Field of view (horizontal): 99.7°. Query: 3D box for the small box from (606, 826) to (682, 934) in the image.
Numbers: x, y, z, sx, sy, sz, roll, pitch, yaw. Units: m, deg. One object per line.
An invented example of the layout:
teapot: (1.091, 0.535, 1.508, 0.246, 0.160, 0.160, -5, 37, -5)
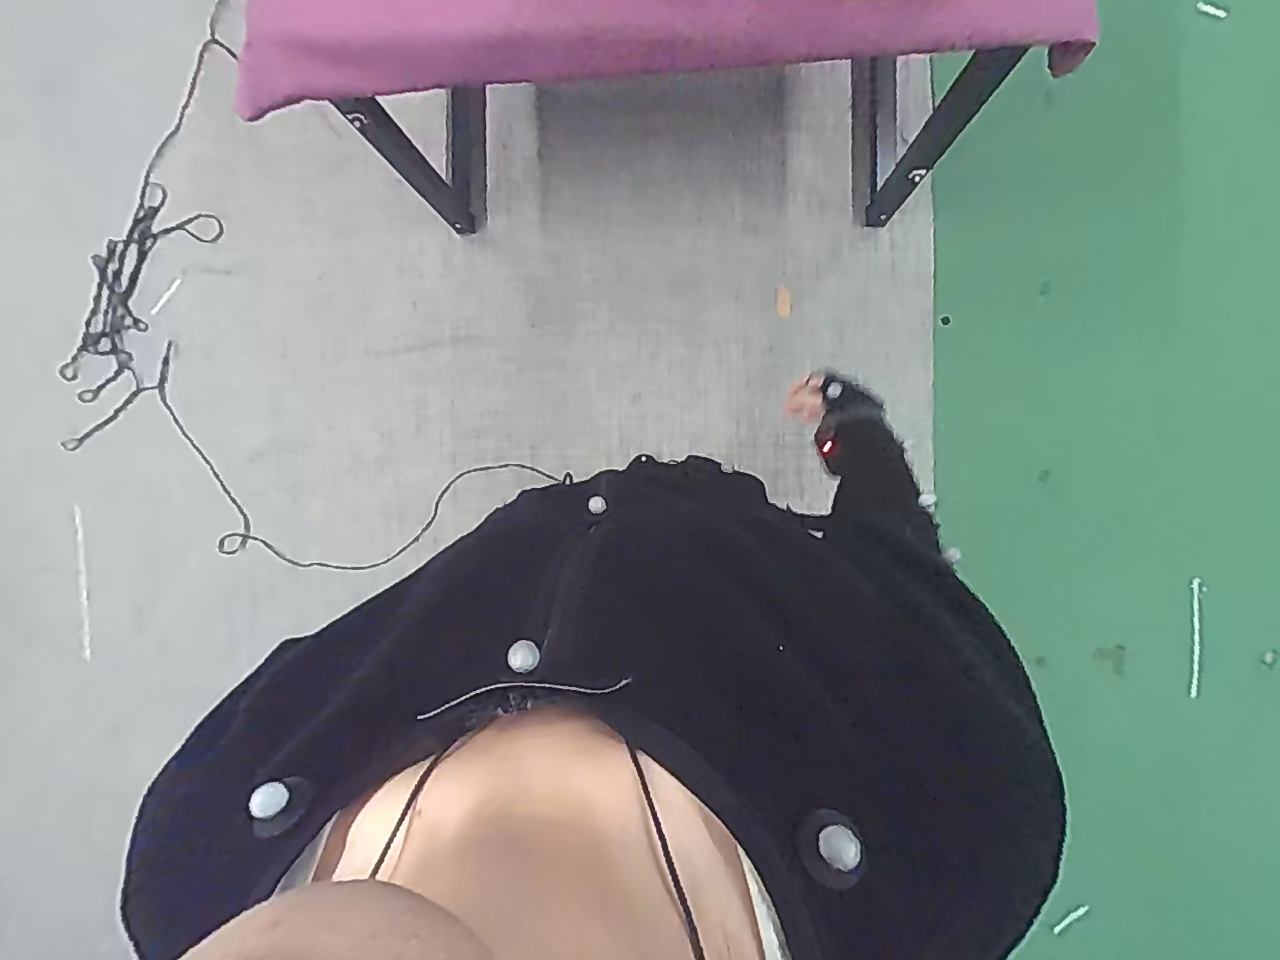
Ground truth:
small box: (0.016, 1.035, 1.412, 0.179, 0.176, 0.168, -6, 89, 6)
